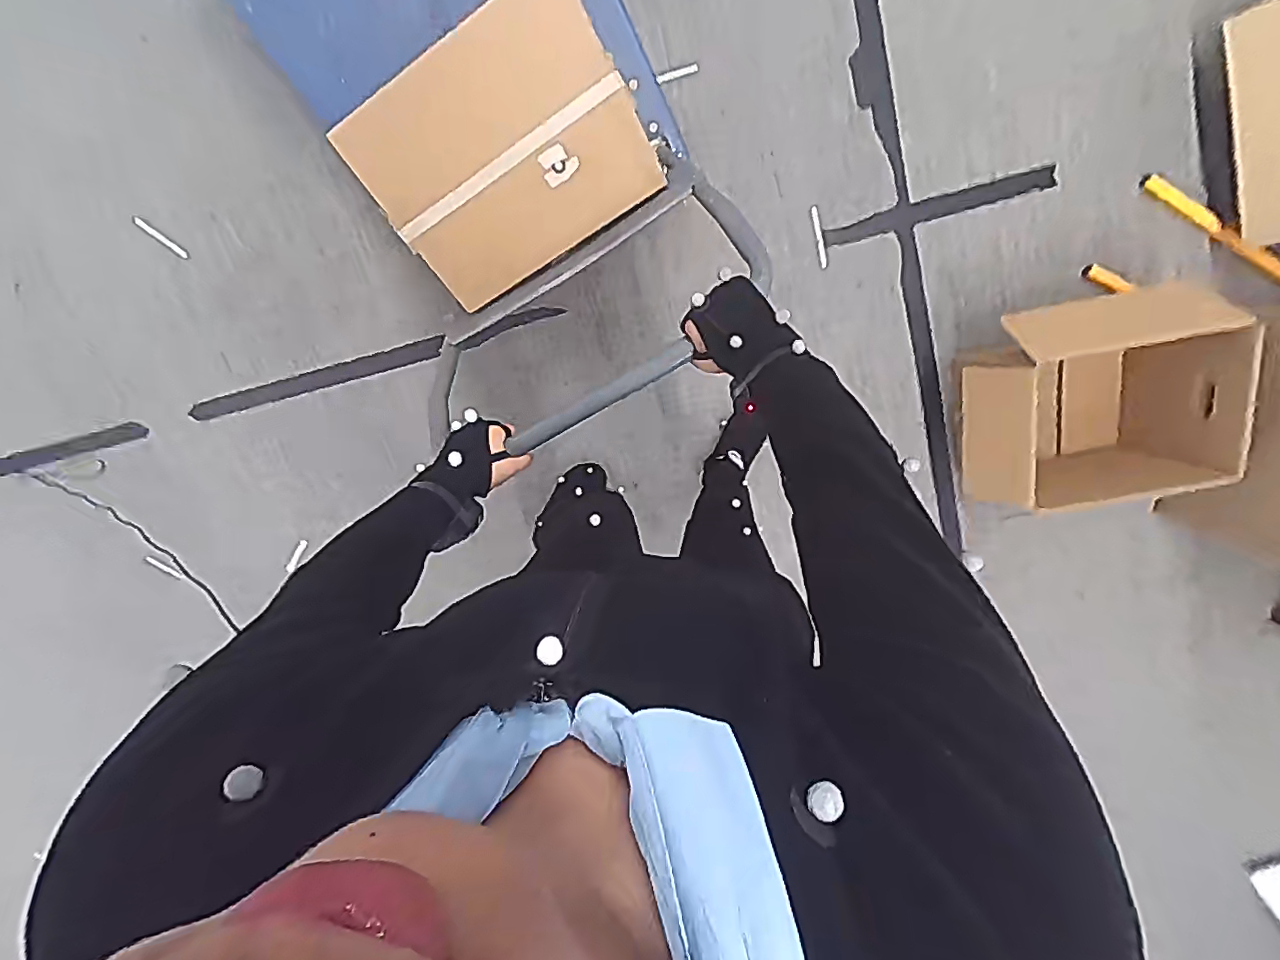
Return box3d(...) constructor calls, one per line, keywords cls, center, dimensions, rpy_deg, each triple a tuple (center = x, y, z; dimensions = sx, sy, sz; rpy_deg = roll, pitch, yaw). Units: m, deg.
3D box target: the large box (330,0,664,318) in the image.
box3d(cls="large box", center=(-0.222, -0.557, 0.931), dimensions=(0.408, 0.320, 0.320), rpy_deg=(-29, 125, 12))
